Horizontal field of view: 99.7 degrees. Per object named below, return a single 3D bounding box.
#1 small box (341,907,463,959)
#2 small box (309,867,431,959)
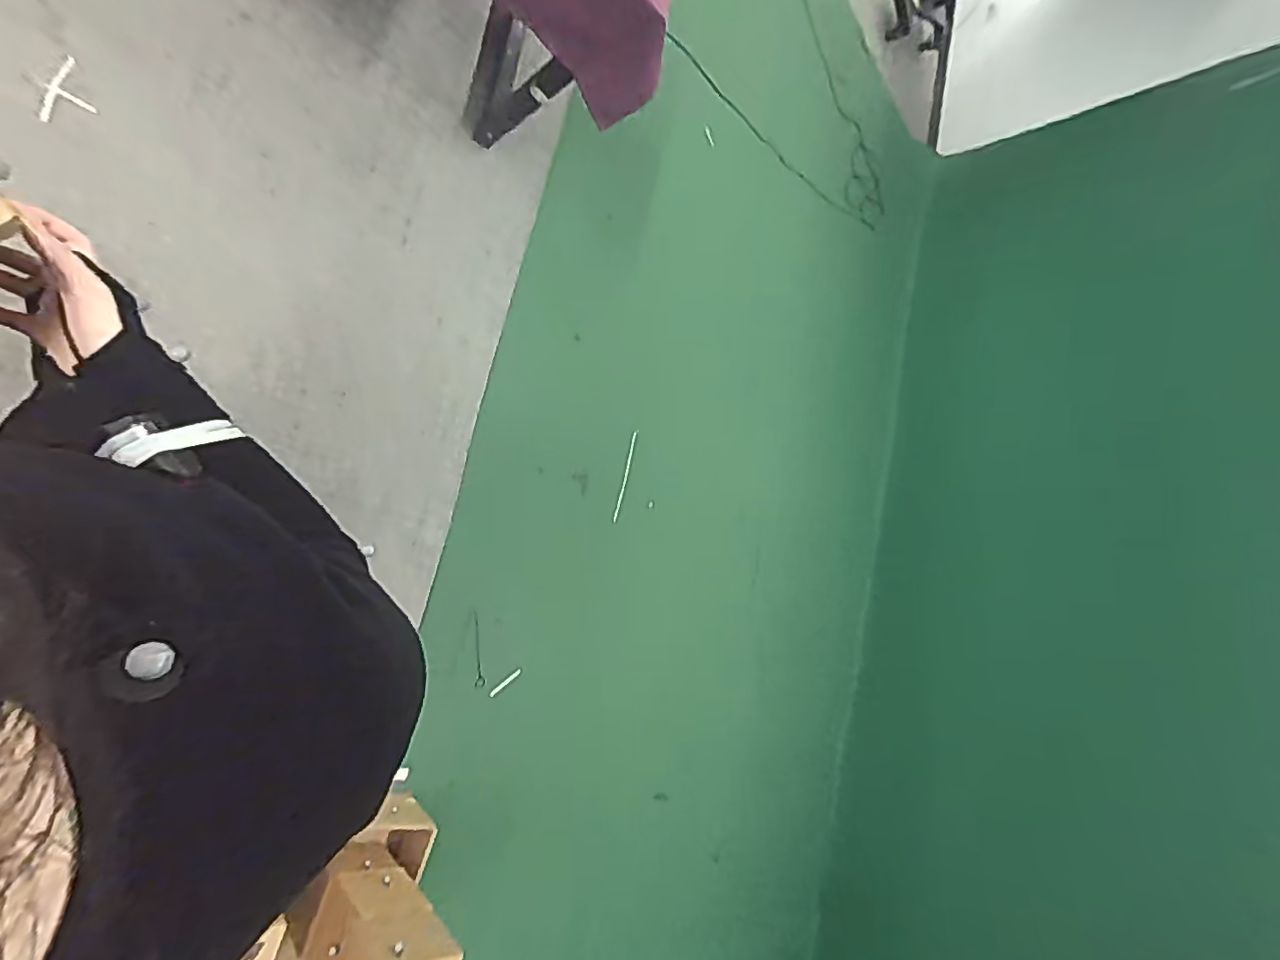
[{"bbox_3d":[-0.492,0.990,1.071,0.179,0.176,0.168,30,70,-41],"label":"small box"},{"bbox_3d":[-0.601,0.998,1.195,0.168,0.176,0.179,32,68,-41],"label":"small box"}]
